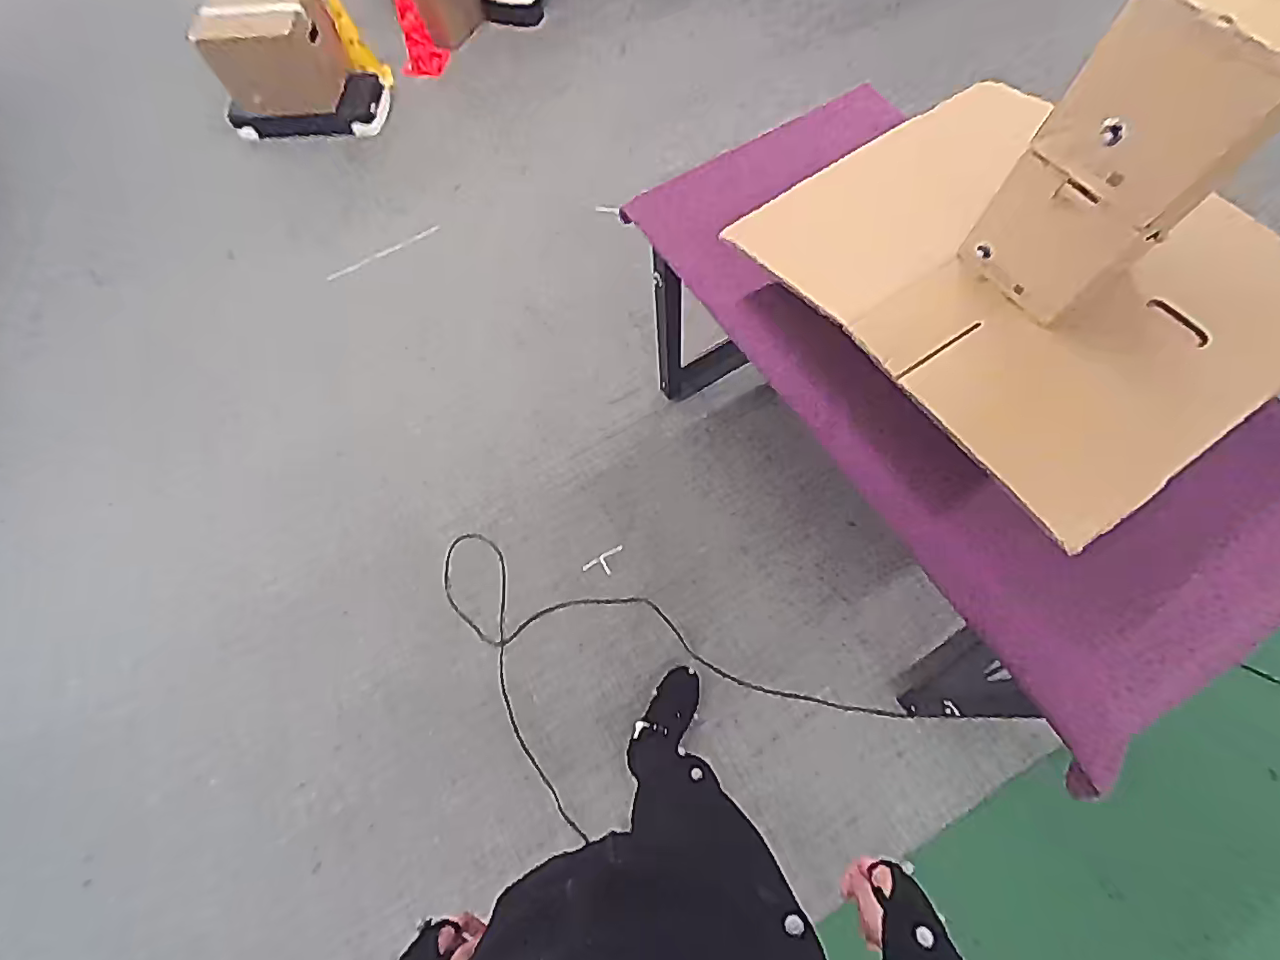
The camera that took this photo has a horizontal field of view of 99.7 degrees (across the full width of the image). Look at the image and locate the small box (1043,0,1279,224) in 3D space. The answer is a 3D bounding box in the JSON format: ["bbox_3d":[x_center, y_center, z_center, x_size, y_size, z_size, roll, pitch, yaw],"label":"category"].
[{"bbox_3d":[0.578,-0.408,0.555,0.179,0.176,0.168,-34,72,-9],"label":"small box"}]

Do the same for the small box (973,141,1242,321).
[{"bbox_3d":[0.579,-0.343,0.704,0.179,0.176,0.168,-33,71,-10],"label":"small box"}]
